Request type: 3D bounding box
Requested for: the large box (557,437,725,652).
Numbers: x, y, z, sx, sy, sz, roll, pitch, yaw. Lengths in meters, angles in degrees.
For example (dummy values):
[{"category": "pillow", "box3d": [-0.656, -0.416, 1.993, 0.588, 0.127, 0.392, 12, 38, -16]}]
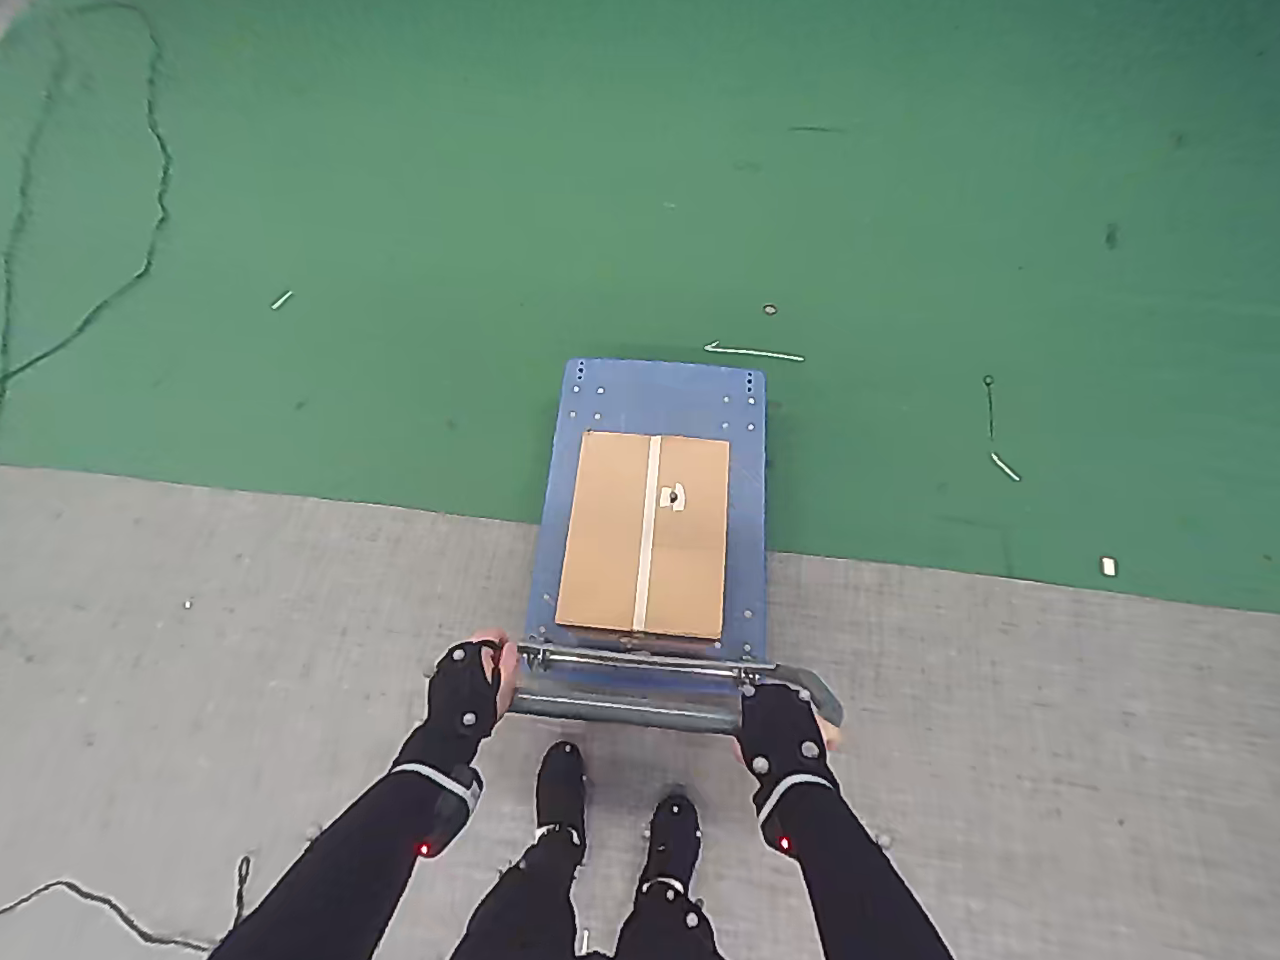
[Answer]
[{"category": "large box", "box3d": [0.017, 0.158, 1.209, 0.320, 0.320, 0.408, 5, 68, 3]}]
